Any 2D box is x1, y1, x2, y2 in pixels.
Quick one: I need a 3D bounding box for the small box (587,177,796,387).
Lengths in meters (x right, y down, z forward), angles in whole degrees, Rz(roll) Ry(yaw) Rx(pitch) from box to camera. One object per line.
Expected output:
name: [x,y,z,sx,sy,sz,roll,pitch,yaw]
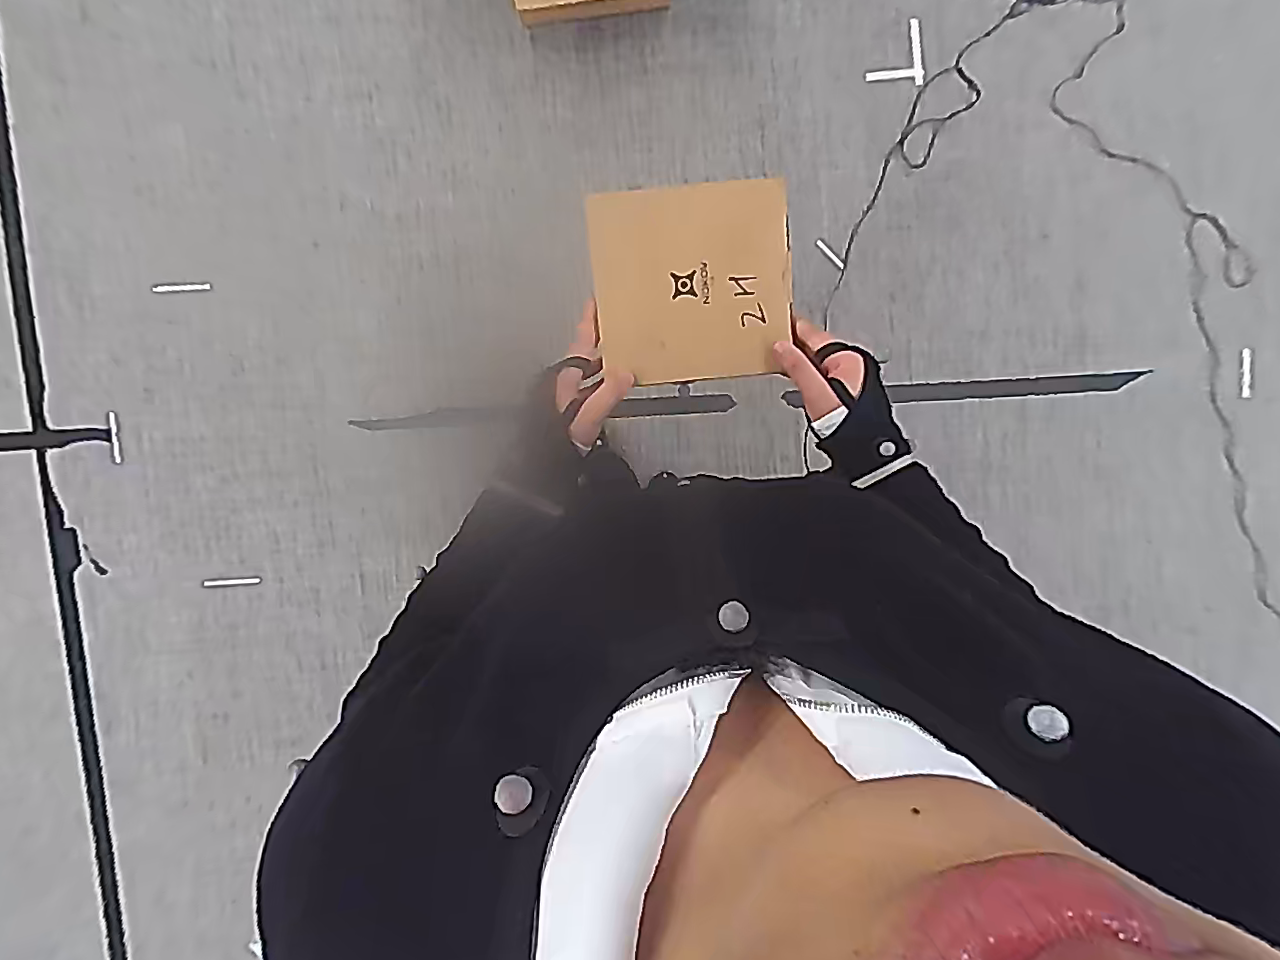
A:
small box: [0.046,-0.183,0.549,0.179,0.176,0.168,-5,100,-1]
